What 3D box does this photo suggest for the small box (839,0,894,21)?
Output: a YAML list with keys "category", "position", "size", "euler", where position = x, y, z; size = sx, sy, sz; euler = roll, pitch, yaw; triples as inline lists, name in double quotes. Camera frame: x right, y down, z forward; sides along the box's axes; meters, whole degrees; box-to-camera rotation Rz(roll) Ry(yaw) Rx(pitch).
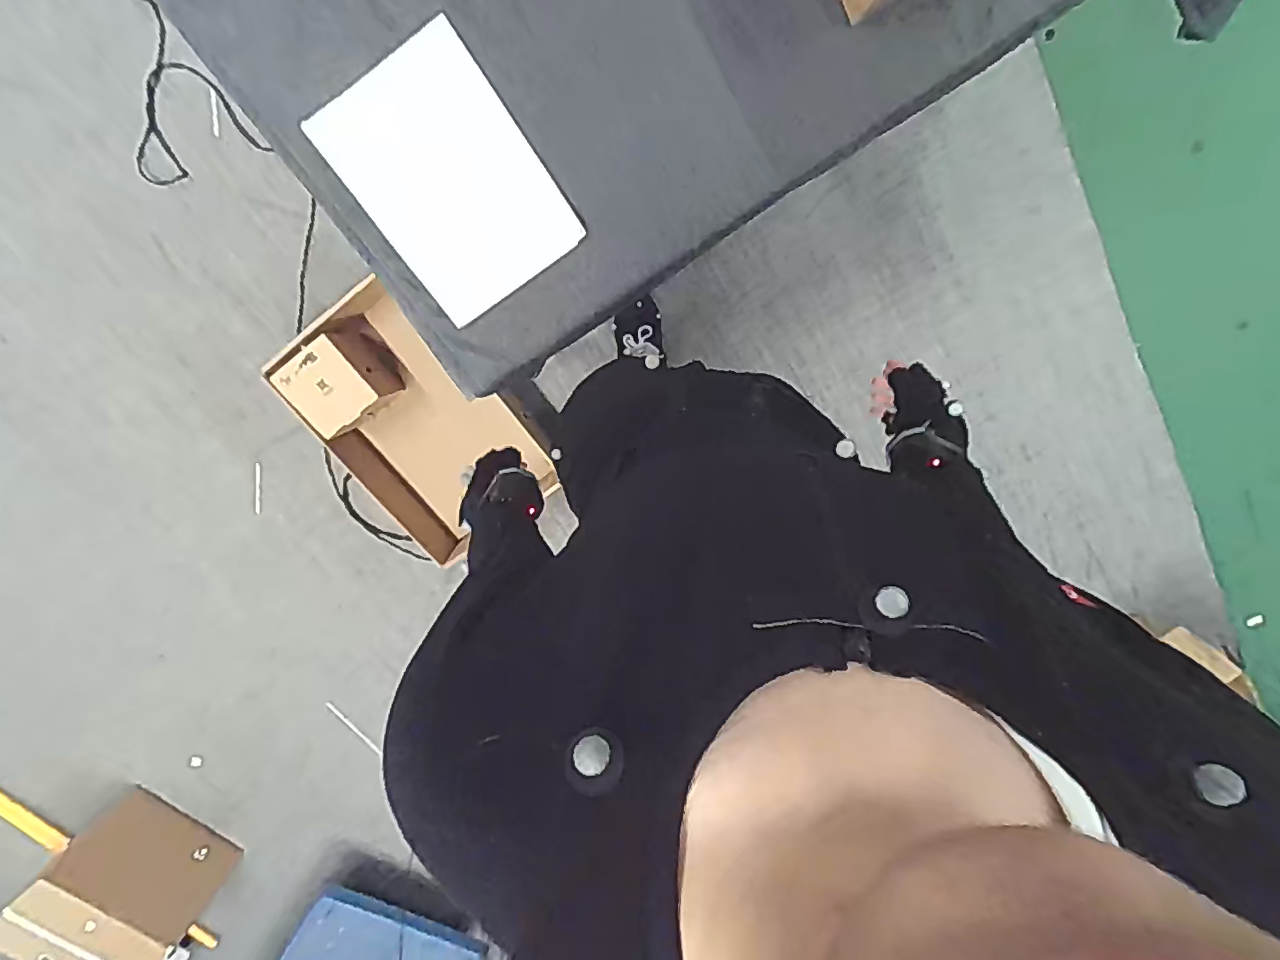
- category: "small box"
  position: [0.272, -0.592, 0.496]
  size: [0.179, 0.176, 0.168]
  euler: [-31, 104, 7]
